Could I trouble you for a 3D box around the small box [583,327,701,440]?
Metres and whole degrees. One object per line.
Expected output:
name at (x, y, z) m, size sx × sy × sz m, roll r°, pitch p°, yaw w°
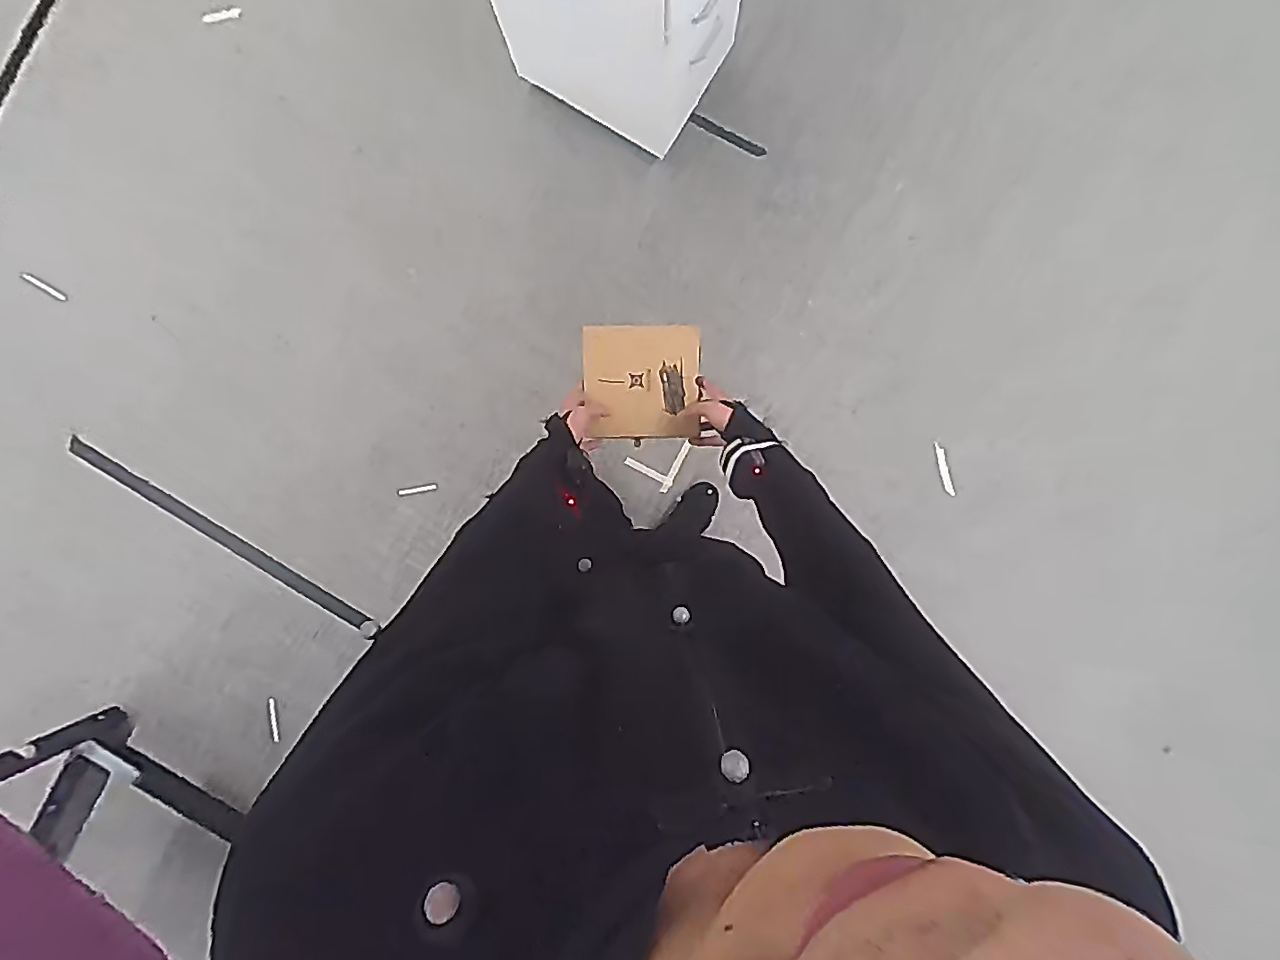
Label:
small box at (0.002, -0.149, 0.877) m, size 0.179 × 0.176 × 0.168 m, roll 0°, pitch 94°, yaw 1°
